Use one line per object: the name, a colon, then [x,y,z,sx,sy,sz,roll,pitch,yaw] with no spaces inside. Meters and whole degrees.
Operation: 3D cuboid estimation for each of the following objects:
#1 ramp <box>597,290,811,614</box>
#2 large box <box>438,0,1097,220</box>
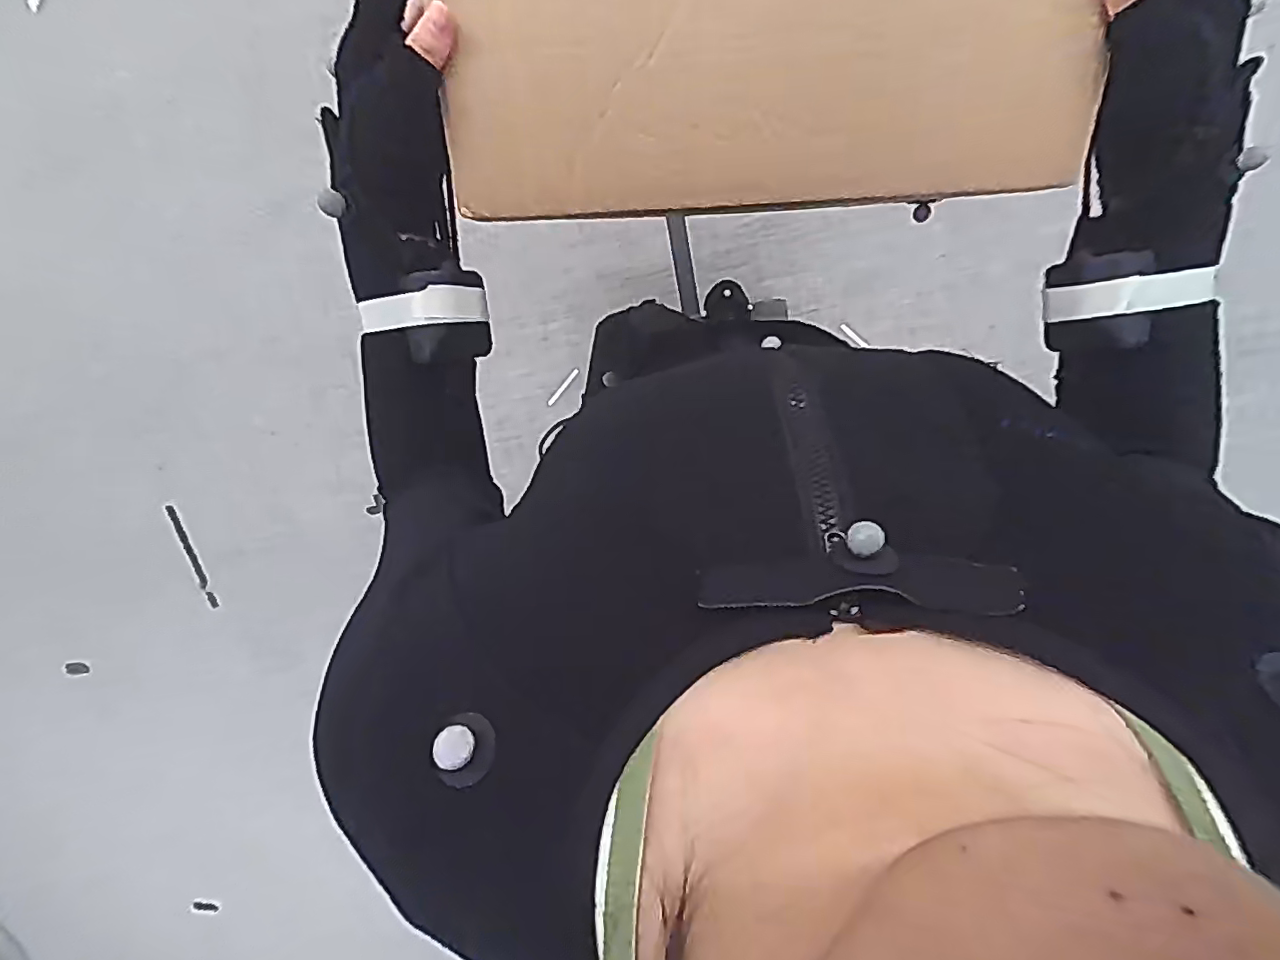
ramp: [0.232,-0.010,1.610,0.509,0.206,0.991,-13,108,7]
large box: [0.078,-0.395,0.438,0.408,0.320,0.320,-2,116,2]
